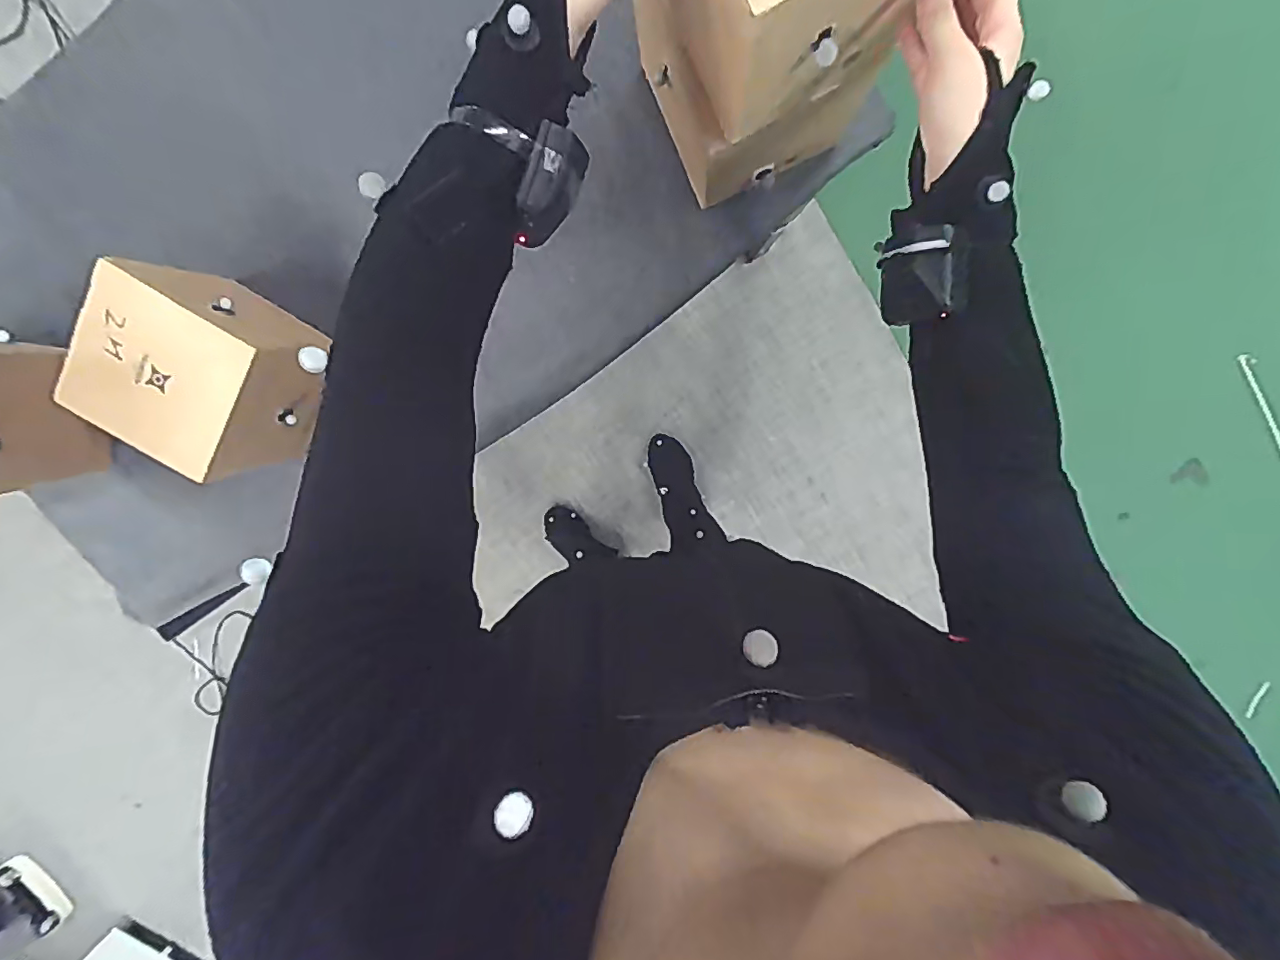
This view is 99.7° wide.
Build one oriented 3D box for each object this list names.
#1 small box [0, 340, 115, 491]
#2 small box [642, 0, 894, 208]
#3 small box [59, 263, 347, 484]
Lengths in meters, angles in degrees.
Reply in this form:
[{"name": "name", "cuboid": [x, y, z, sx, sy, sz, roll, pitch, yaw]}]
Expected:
[{"name": "small box", "cuboid": [-0.811, -0.083, 0.662, 0.179, 0.176, 0.168, 7, 104, 2]}, {"name": "small box", "cuboid": [0.108, -0.401, 0.522, 0.168, 0.176, 0.179, -23, 98, 10]}, {"name": "small box", "cuboid": [-0.486, -0.122, 0.630, 0.179, 0.176, 0.168, 32, 102, -3]}]
